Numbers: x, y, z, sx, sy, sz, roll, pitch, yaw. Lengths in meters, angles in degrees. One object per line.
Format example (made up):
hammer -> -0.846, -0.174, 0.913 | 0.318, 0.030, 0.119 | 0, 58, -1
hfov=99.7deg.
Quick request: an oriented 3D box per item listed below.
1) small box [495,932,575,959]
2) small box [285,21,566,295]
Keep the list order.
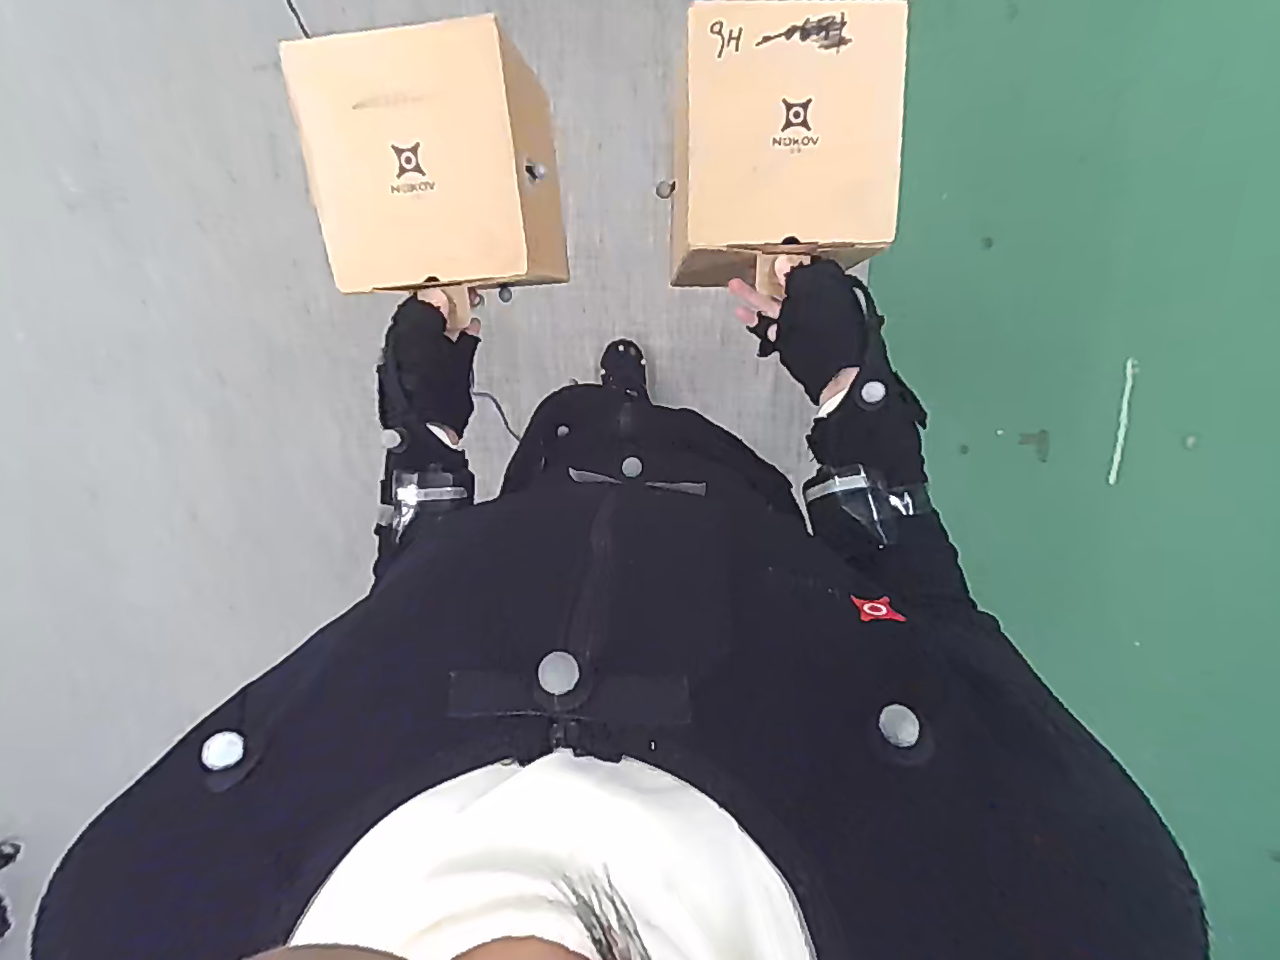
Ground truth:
small box -> -0.250, 1.176, 1.229 | 0.179, 0.176, 0.168 | 0, 93, 3
small box -> -0.173, -0.271, 0.499 | 0.168, 0.176, 0.179 | -4, 108, 6
